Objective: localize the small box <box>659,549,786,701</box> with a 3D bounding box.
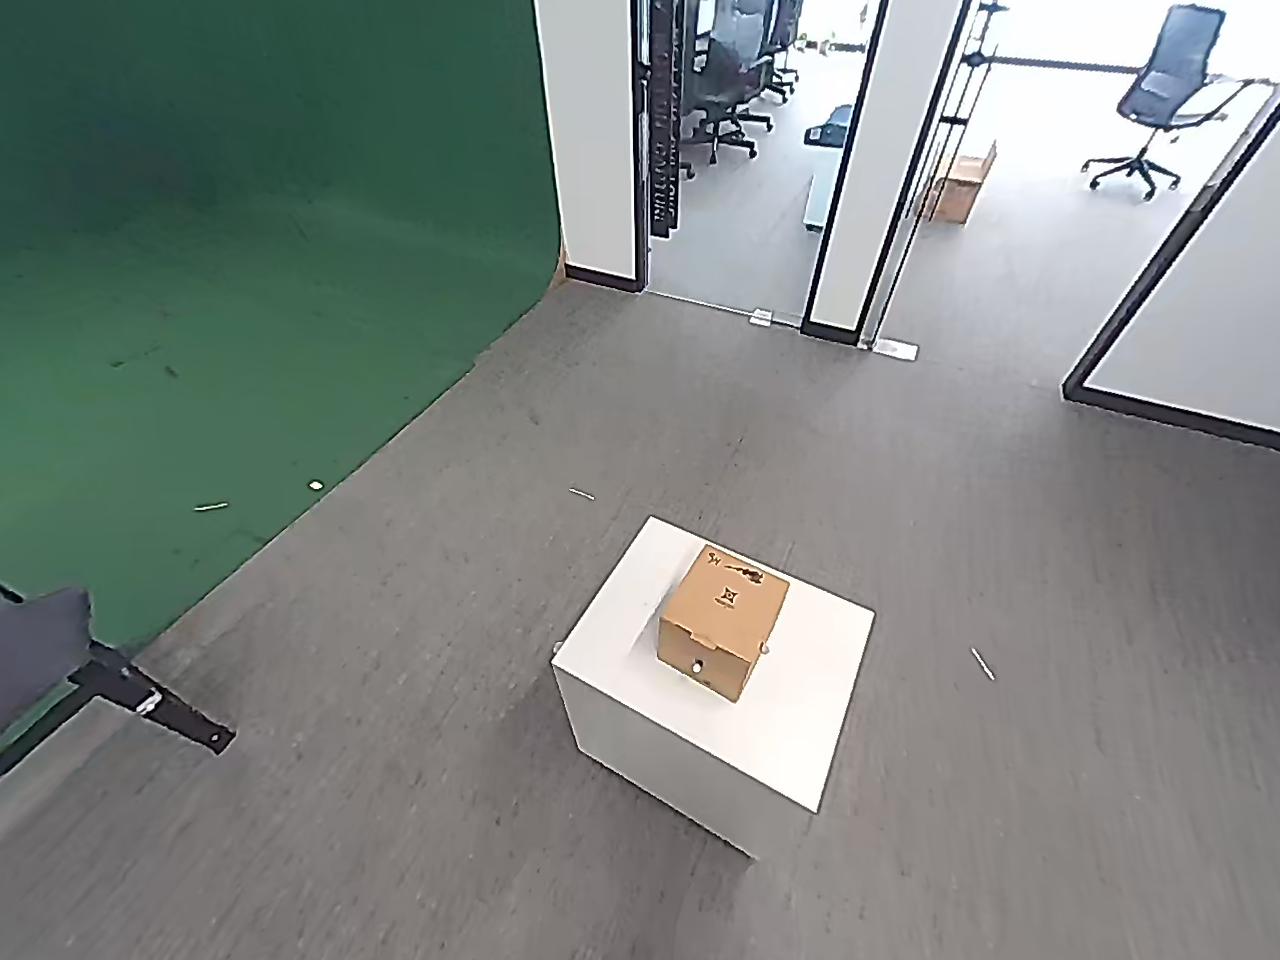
[{"bbox_3d":[0.145,0.265,0.977,0.168,0.176,0.179,22,51,19],"label":"small box"}]
